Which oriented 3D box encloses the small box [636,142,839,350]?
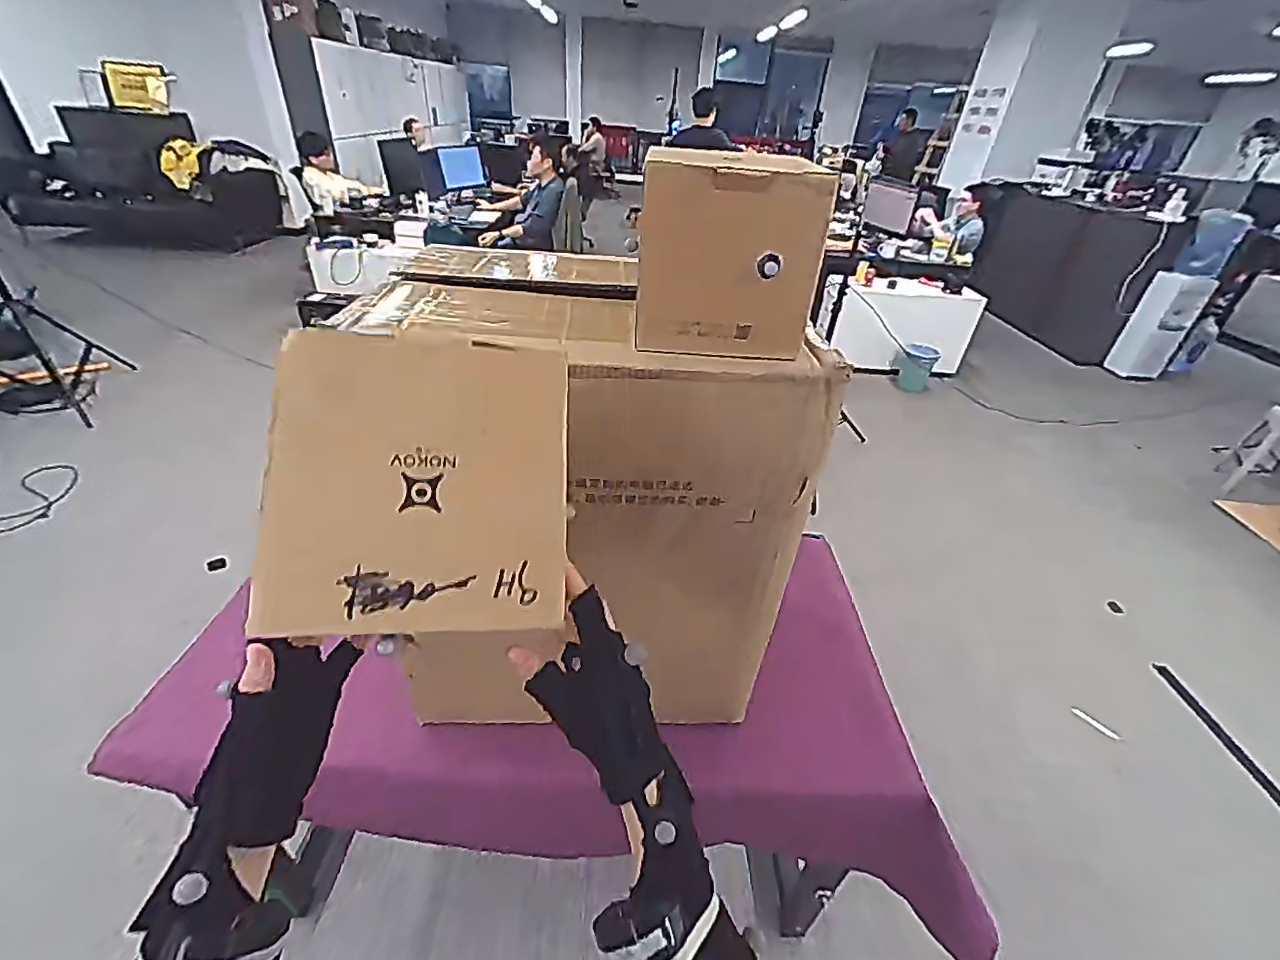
[{"bbox_3d":[0.085,-0.244,0.561,0.168,0.176,0.179,4,34,-1],"label":"small box"}]

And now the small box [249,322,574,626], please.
[{"bbox_3d":[-0.139,0.013,0.388,0.168,0.176,0.179,2,77,-12],"label":"small box"}]
